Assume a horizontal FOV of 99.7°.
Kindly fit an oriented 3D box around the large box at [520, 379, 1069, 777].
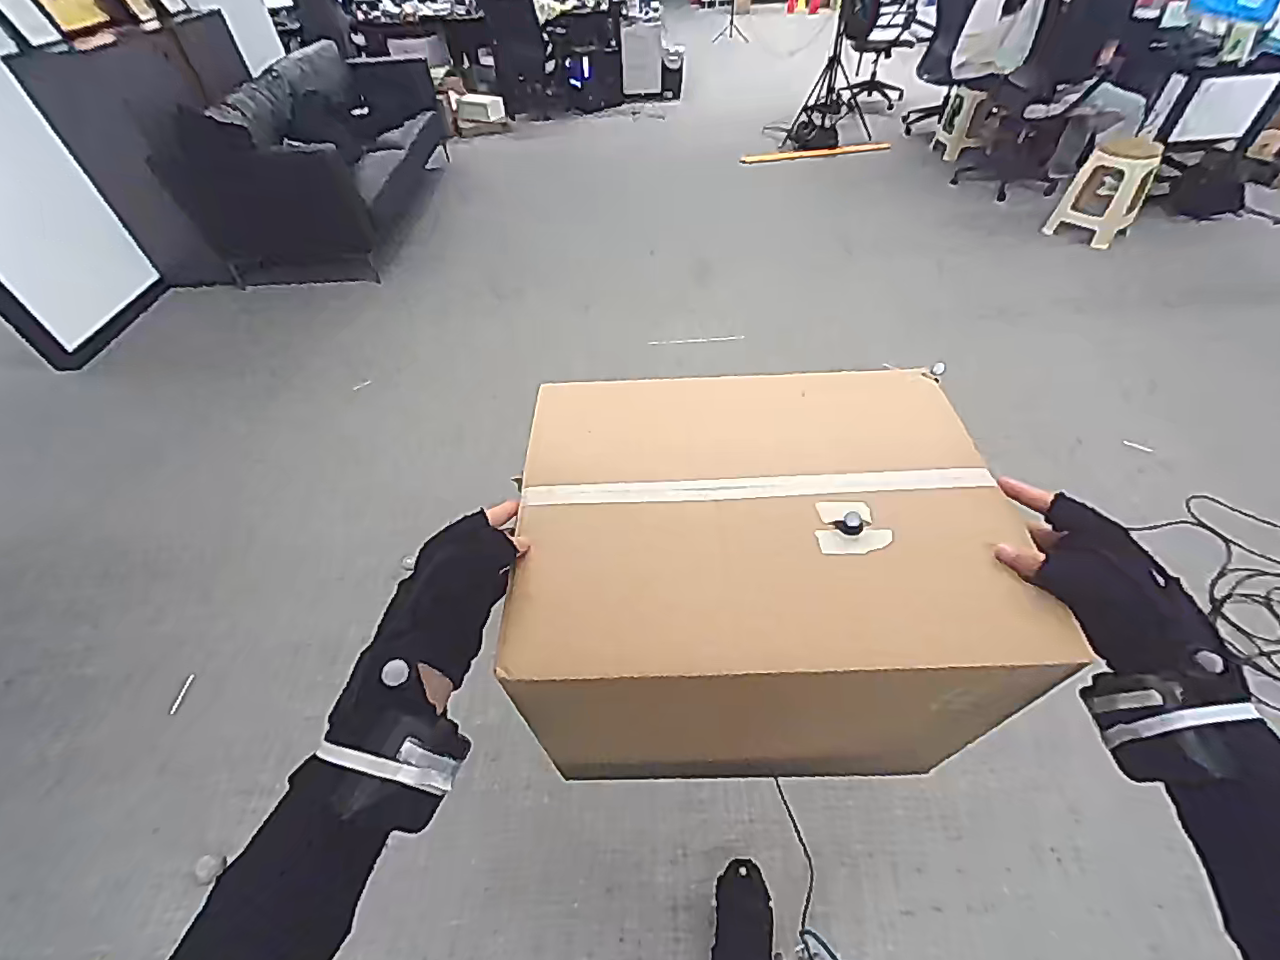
[{"bbox_3d":[0.108,0.112,0.592,0.408,0.320,0.320,-2,50,0],"label":"large box"}]
